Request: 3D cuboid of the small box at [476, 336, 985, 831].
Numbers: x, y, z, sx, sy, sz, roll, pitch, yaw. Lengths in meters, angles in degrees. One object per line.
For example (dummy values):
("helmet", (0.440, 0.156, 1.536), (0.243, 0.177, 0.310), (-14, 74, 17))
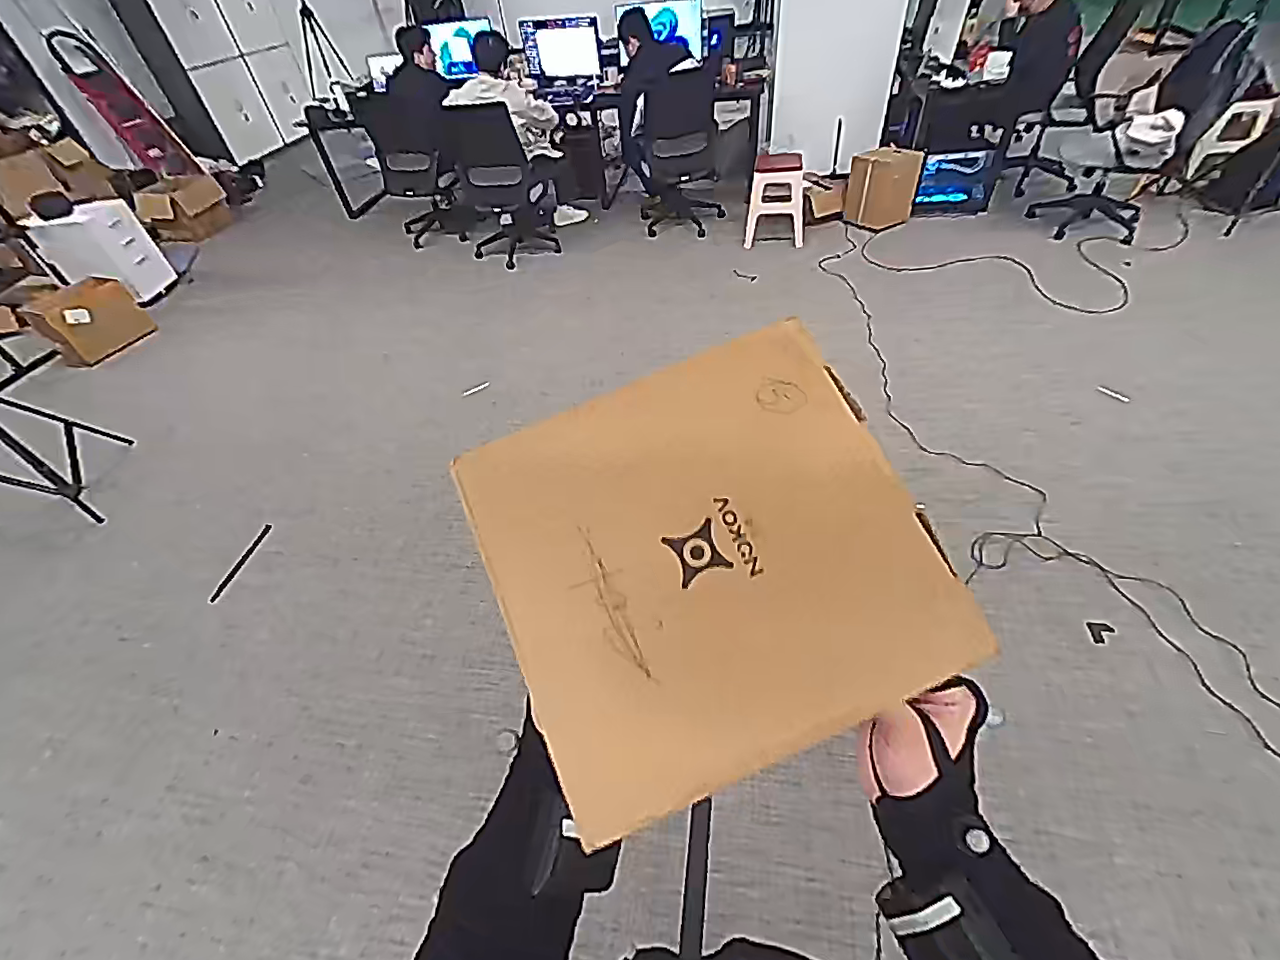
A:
("small box", (0.036, 0.056, 0.312), (0.179, 0.176, 0.168), (-24, 71, -4))
